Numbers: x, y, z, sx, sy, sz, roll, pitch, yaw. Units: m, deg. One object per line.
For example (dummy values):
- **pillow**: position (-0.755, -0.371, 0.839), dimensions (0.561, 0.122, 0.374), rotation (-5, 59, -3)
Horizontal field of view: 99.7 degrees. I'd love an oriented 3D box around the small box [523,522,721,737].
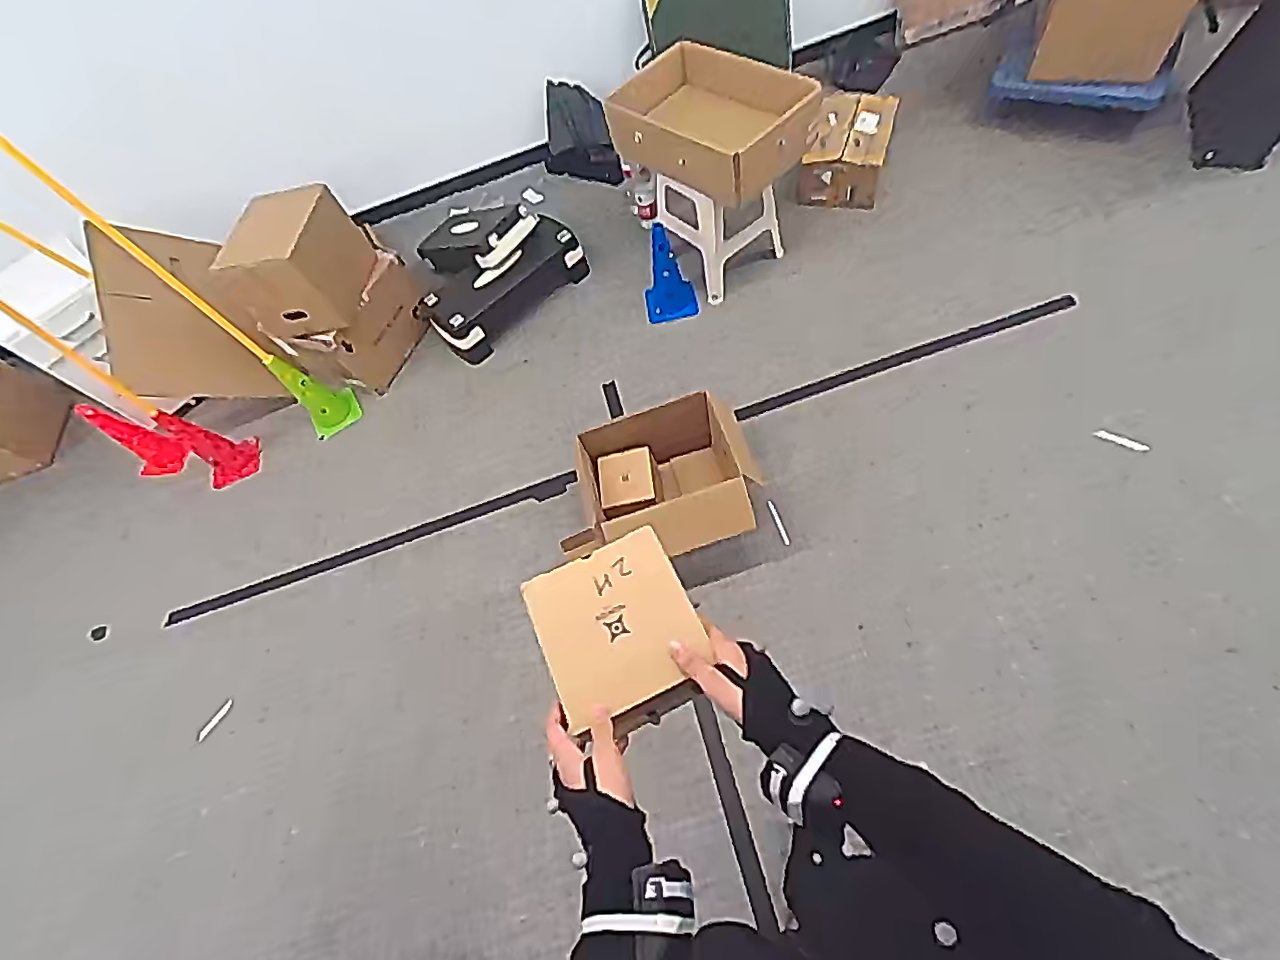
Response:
- **small box**: position (-0.014, 0.184, 0.639), dimensions (0.168, 0.176, 0.179), rotation (-25, 61, -6)
